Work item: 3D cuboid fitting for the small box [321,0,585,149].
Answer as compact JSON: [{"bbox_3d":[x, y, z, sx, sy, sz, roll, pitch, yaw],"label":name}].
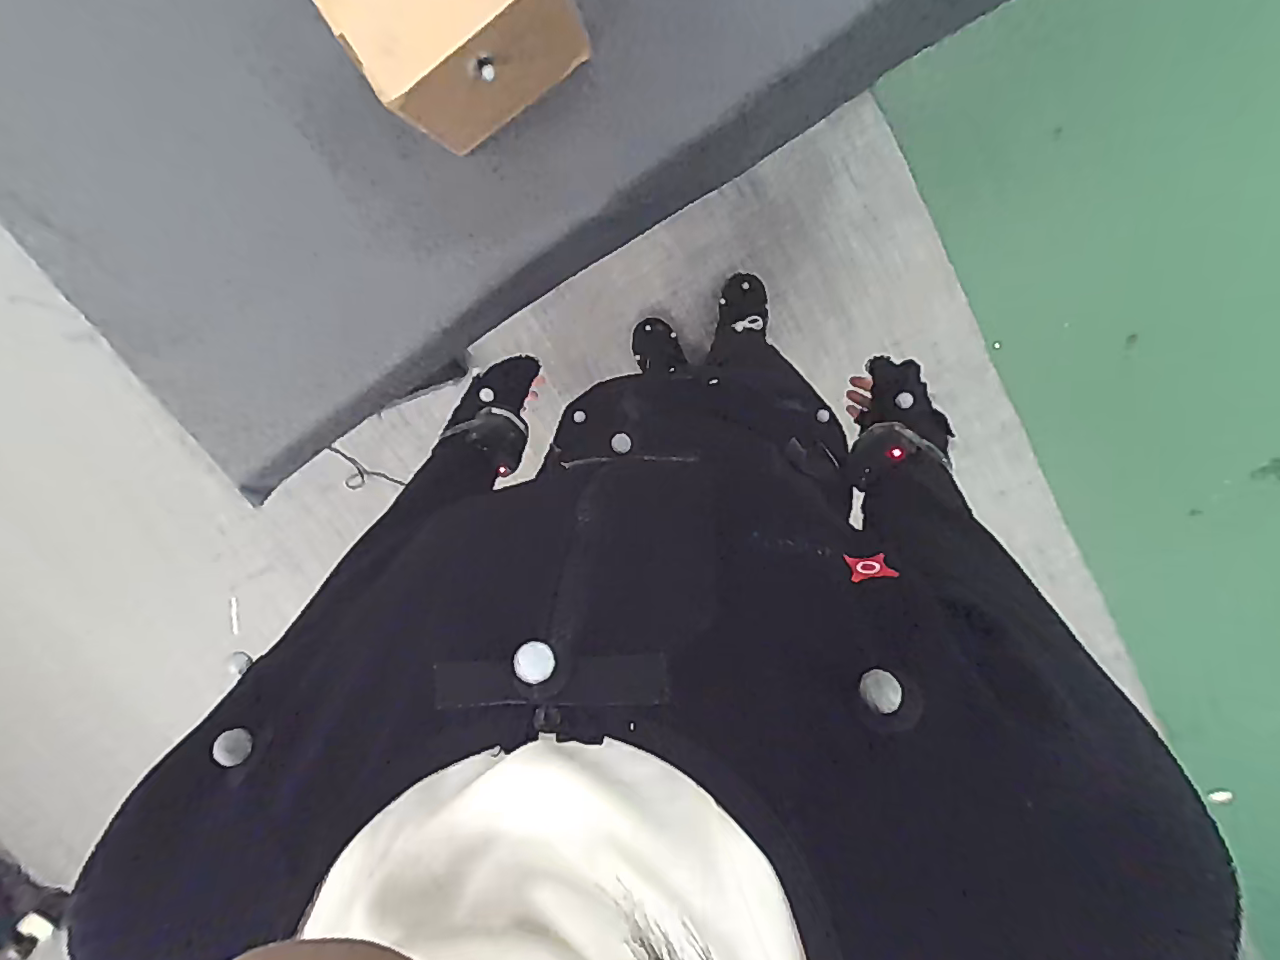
[{"bbox_3d":[-0.170,-0.440,0.486,0.179,0.176,0.168,-30,104,12],"label":"small box"}]
